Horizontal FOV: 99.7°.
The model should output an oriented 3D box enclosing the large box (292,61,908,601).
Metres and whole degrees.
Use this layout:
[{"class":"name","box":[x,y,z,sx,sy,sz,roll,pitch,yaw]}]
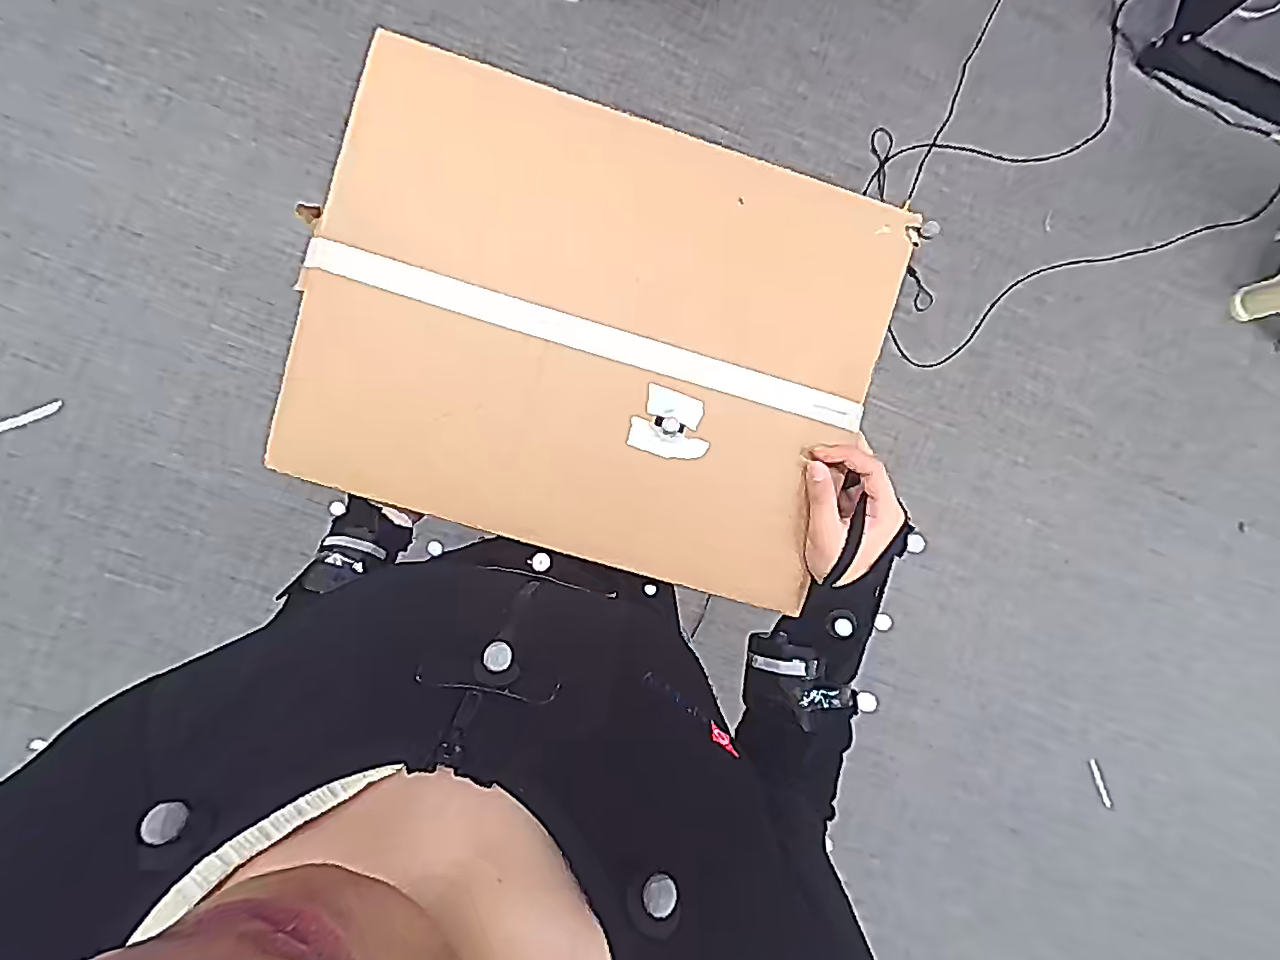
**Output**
[{"class":"large box","box":[-0.036,-0.108,0.548,0.408,0.320,0.320,16,93,-5]}]
